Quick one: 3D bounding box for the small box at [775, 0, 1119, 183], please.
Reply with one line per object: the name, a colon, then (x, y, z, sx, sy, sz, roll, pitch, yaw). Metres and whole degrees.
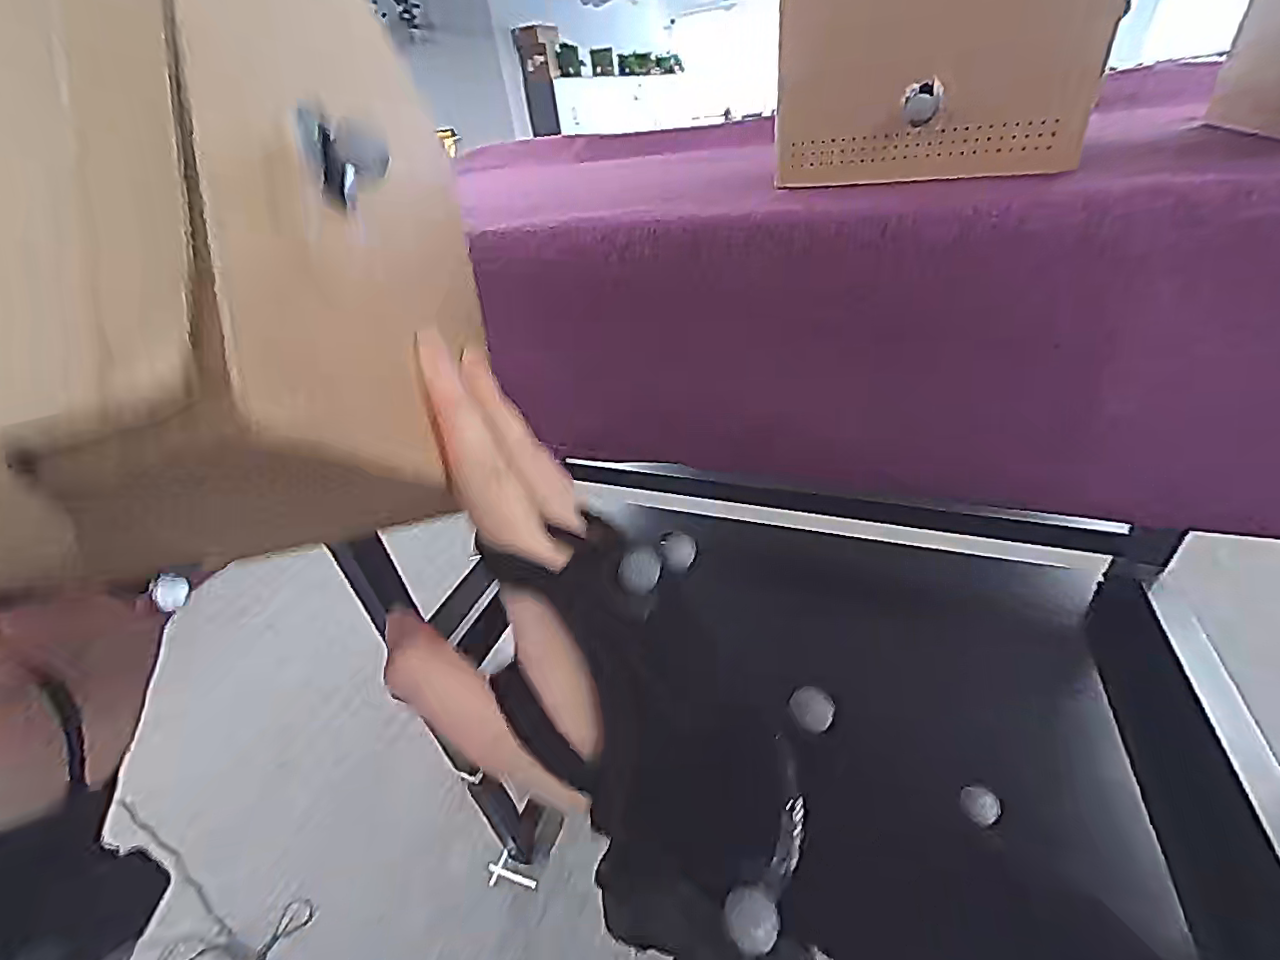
small box: (0.194, -0.303, 0.352, 0.179, 0.176, 0.168, 10, 38, 23)

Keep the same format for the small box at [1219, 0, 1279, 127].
small box: (0.446, -0.275, 0.259, 0.168, 0.176, 0.179, 8, 37, 24)
